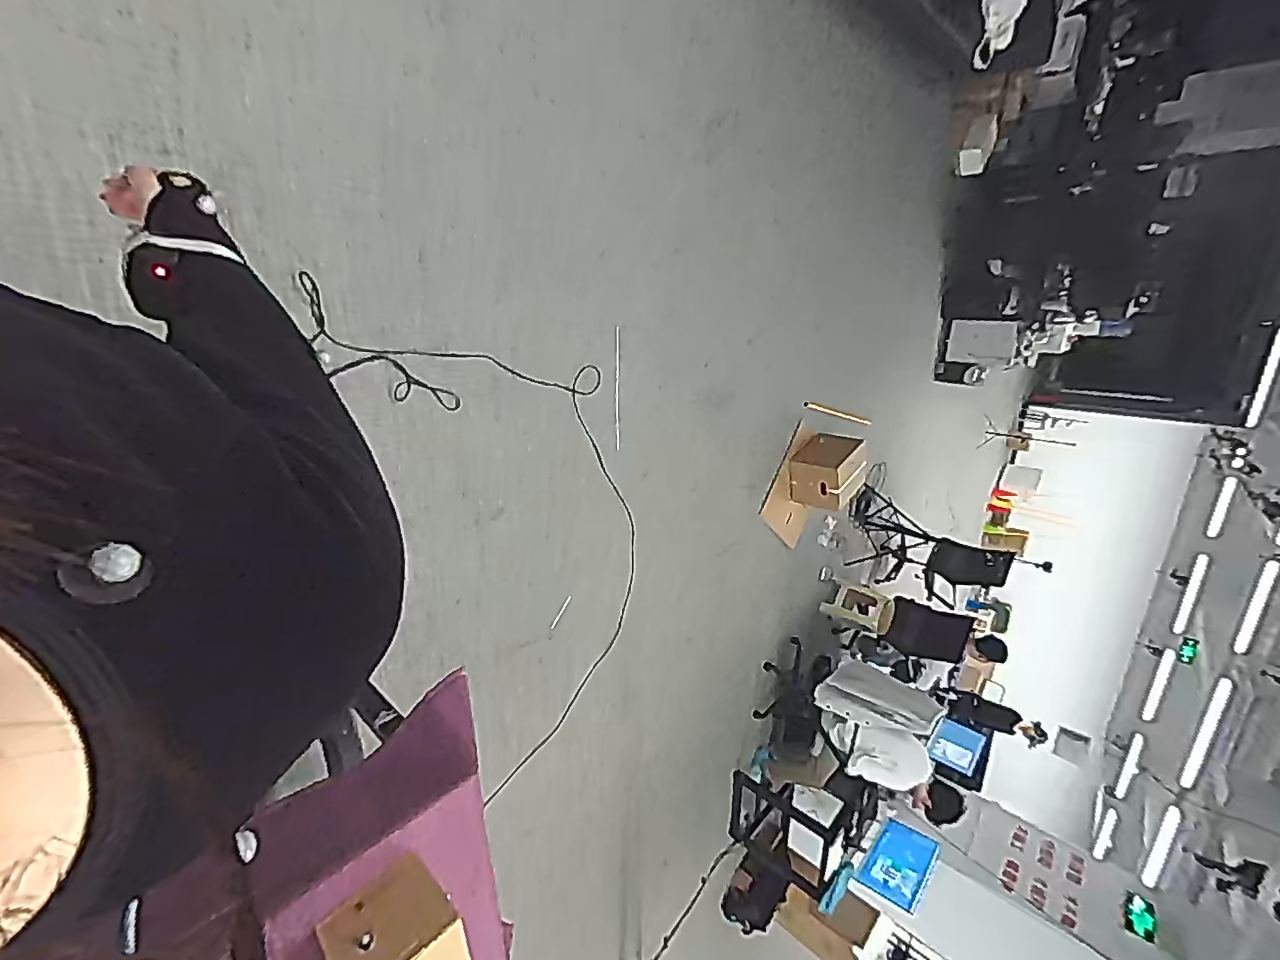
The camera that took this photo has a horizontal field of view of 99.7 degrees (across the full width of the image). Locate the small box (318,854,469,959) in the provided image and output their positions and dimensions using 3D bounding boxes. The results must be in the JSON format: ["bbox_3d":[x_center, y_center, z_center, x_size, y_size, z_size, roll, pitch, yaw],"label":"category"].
[{"bbox_3d":[-0.409,0.775,0.902,0.168,0.176,0.179,-22,120,-43],"label":"small box"}]
